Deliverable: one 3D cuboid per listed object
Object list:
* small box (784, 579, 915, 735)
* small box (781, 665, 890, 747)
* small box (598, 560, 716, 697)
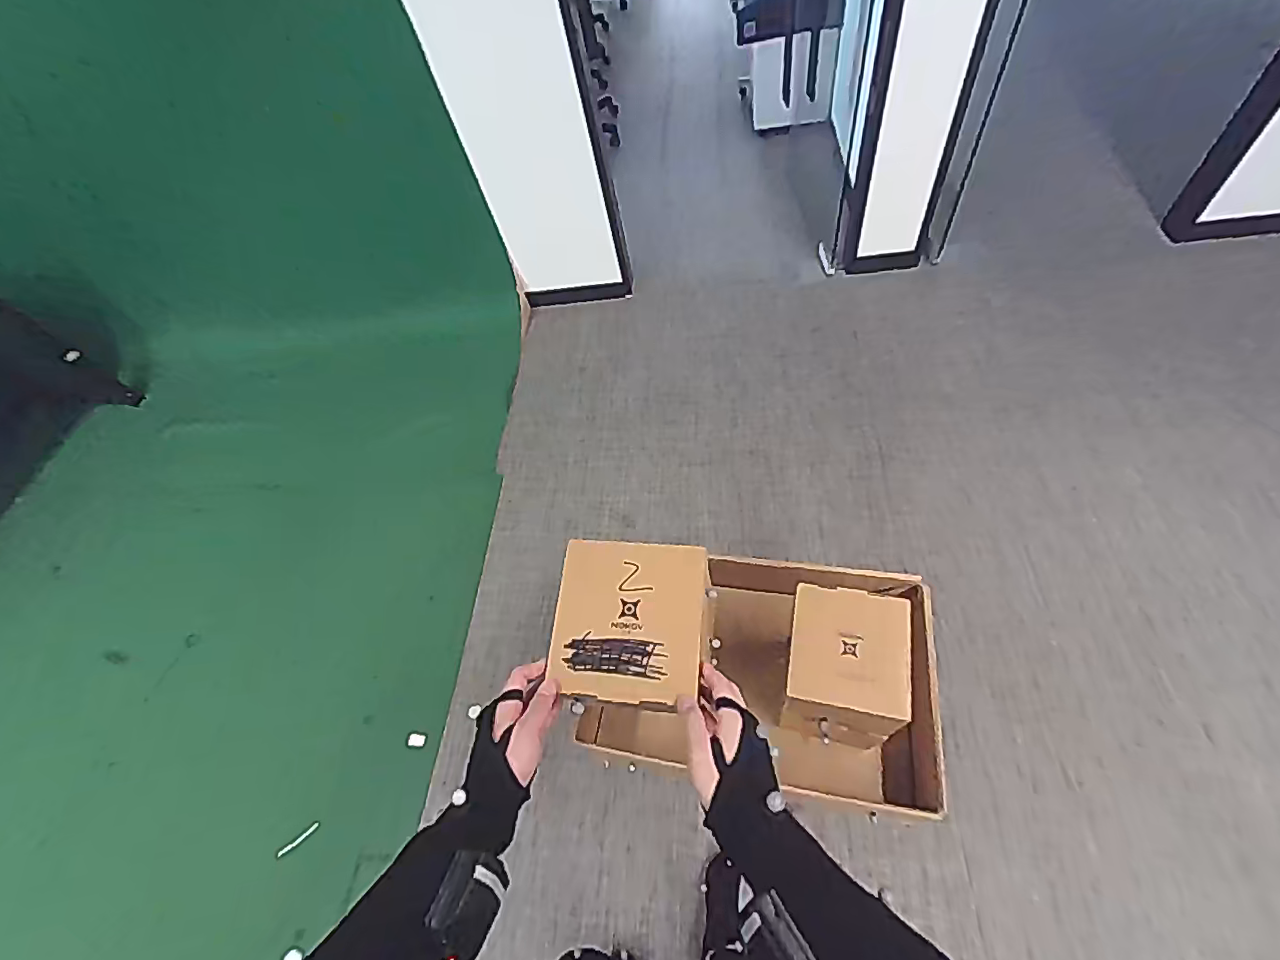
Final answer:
[{"bbox_3d":[0.321,0.280,0.847,0.168,0.176,0.179,7,60,16],"label":"small box"},{"bbox_3d":[0.352,0.365,0.983,0.168,0.176,0.179,8,60,16],"label":"small box"},{"bbox_3d":[0.039,0.253,0.918,0.168,0.176,0.179,2,58,13],"label":"small box"}]
